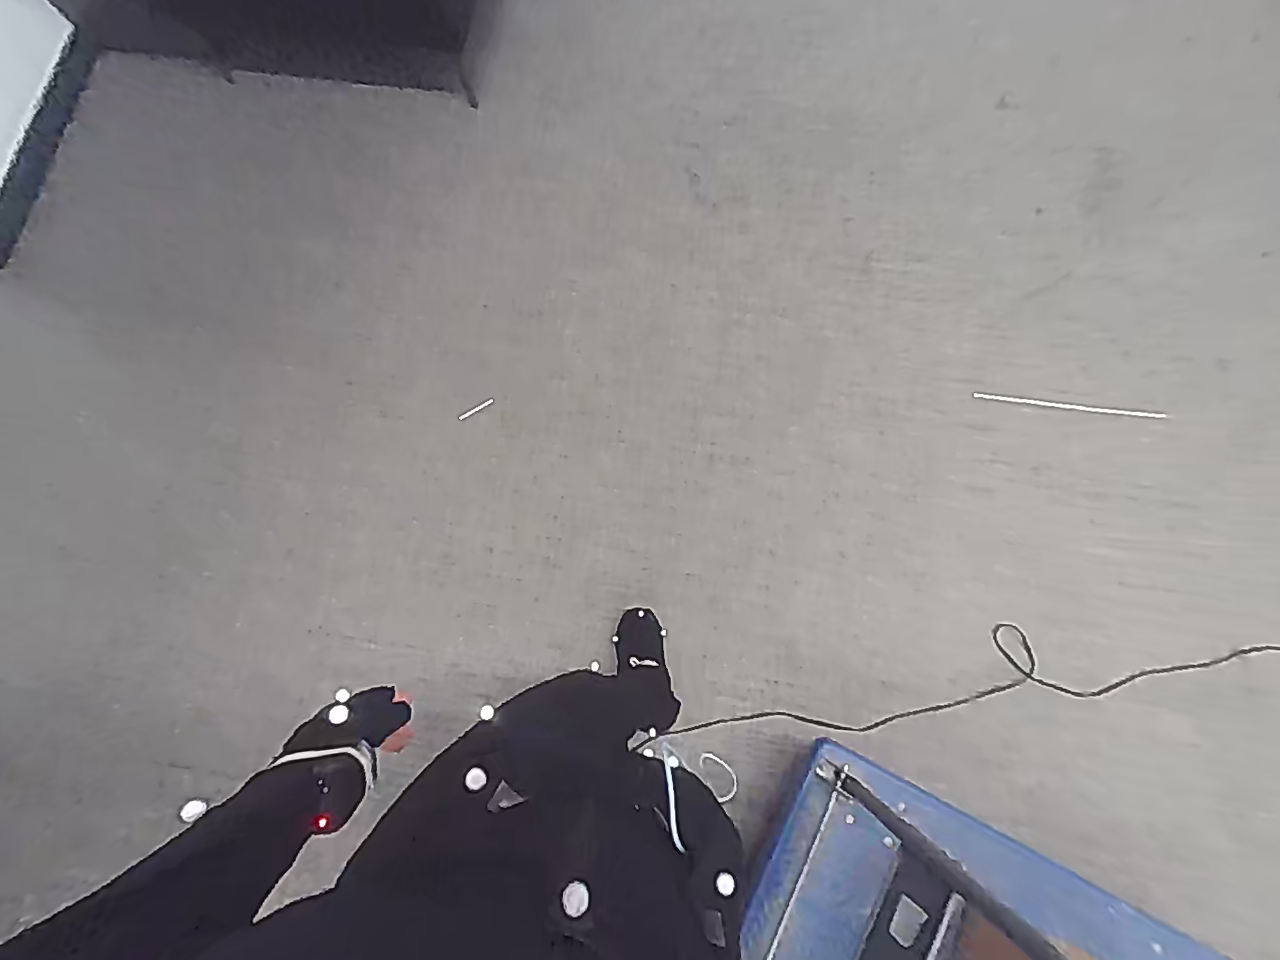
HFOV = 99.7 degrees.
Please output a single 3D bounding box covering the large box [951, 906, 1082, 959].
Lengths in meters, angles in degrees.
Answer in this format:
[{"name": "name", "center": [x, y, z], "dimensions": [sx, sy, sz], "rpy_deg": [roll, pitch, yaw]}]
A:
[{"name": "large box", "center": [0.668, 0.993, 0.812], "dimensions": [0.320, 0.320, 0.408], "rpy_deg": [23, 77, 6]}]
